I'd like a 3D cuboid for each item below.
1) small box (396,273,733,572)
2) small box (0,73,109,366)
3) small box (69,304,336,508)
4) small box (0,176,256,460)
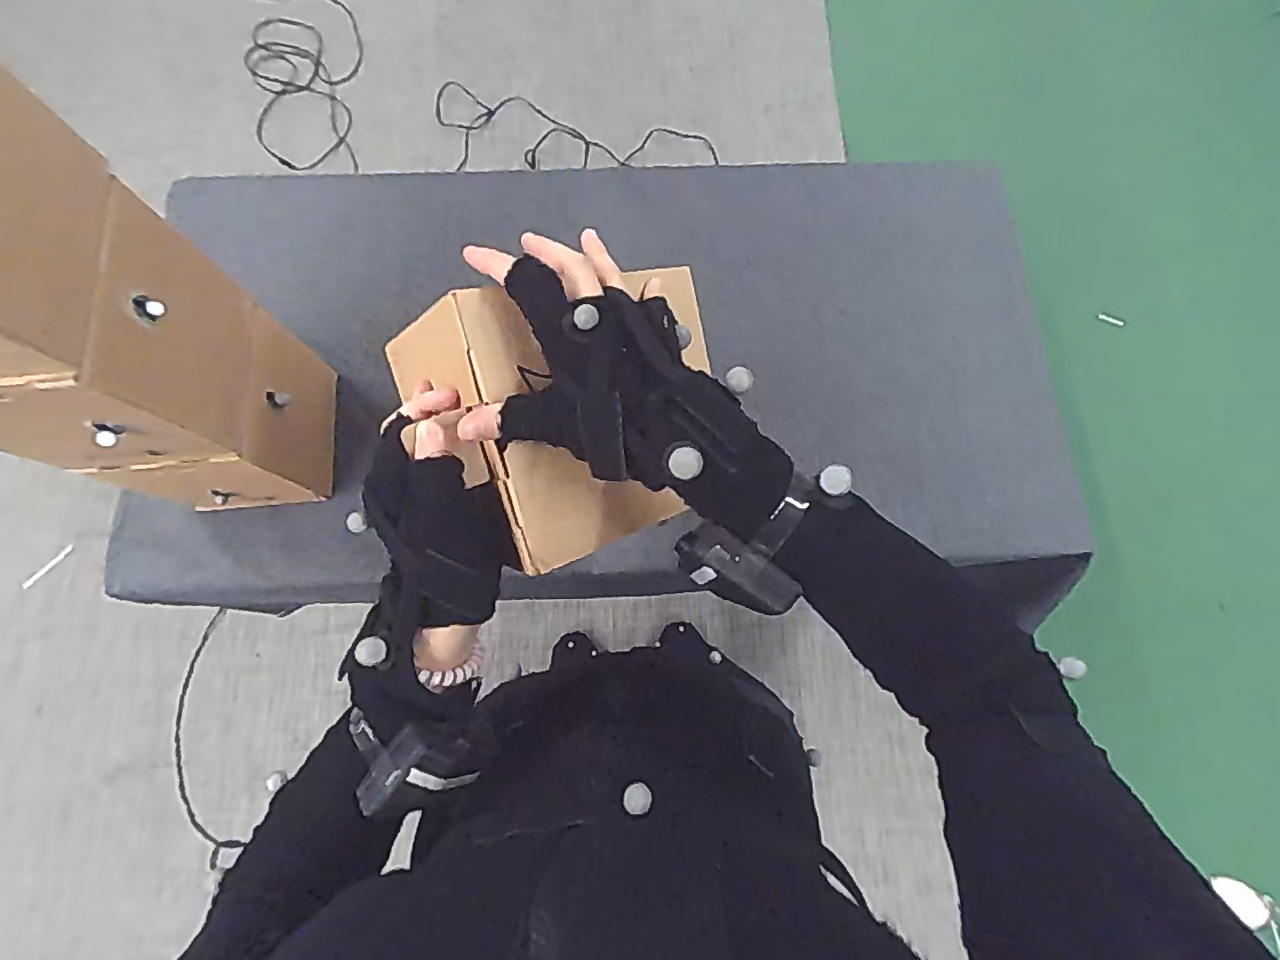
[{"bbox_3d":[-0.059,-0.048,0.411,0.179,0.176,0.168,-19,102,-34],"label":"small box"},{"bbox_3d":[-0.465,-0.172,0.306,0.168,0.176,0.179,-6,75,-4],"label":"small box"},{"bbox_3d":[-0.473,-0.075,0.618,0.168,0.176,0.179,-5,75,-3],"label":"small box"},{"bbox_3d":[-0.468,-0.121,0.462,0.168,0.176,0.179,-4,74,-3],"label":"small box"}]
